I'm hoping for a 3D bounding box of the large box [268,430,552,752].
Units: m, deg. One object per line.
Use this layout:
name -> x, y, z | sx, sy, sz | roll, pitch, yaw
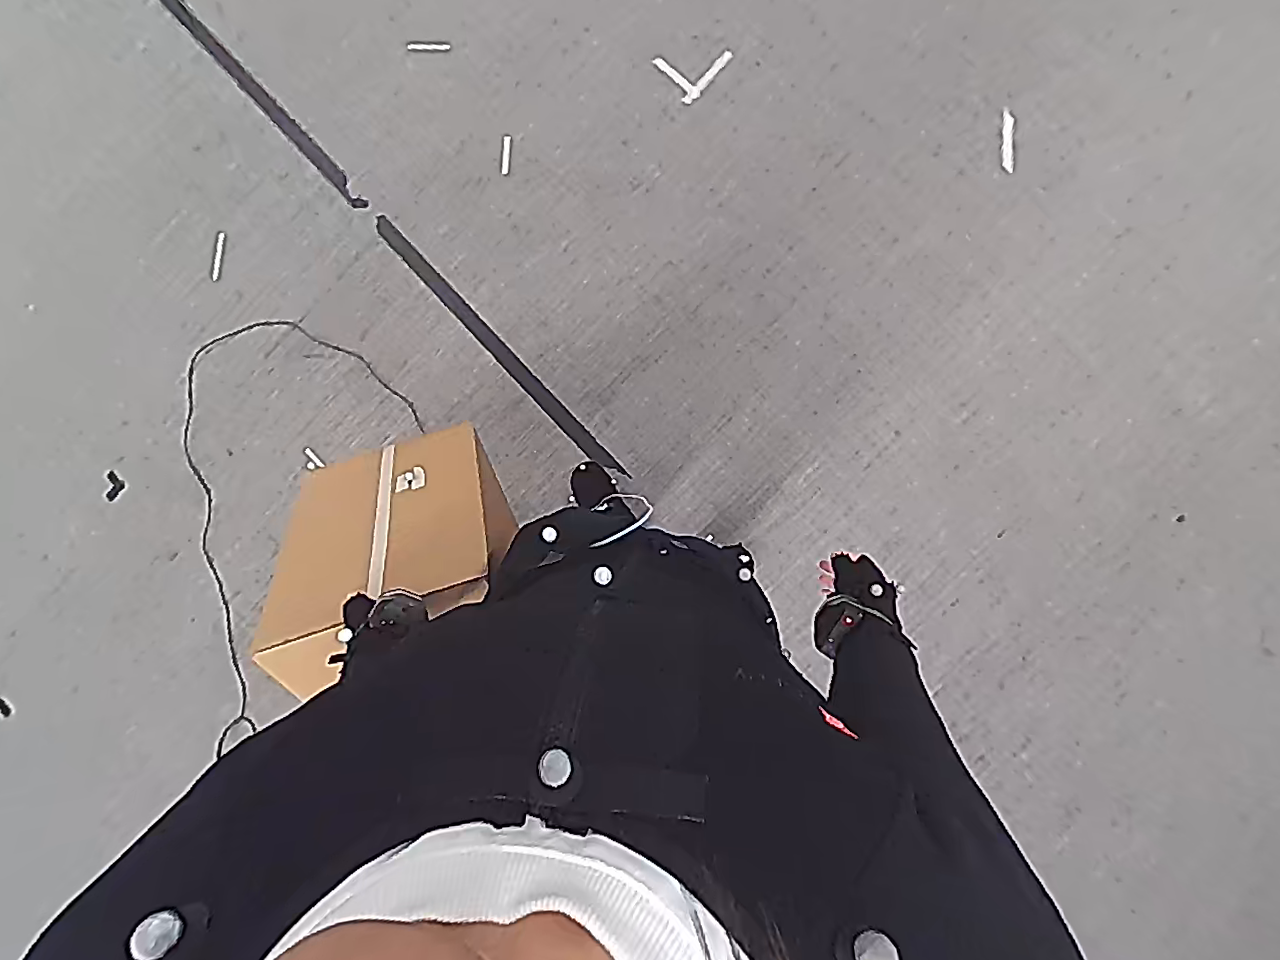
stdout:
large box -> -0.373, 0.177, 0.957 | 0.320, 0.408, 0.320 | -18, 129, -8
